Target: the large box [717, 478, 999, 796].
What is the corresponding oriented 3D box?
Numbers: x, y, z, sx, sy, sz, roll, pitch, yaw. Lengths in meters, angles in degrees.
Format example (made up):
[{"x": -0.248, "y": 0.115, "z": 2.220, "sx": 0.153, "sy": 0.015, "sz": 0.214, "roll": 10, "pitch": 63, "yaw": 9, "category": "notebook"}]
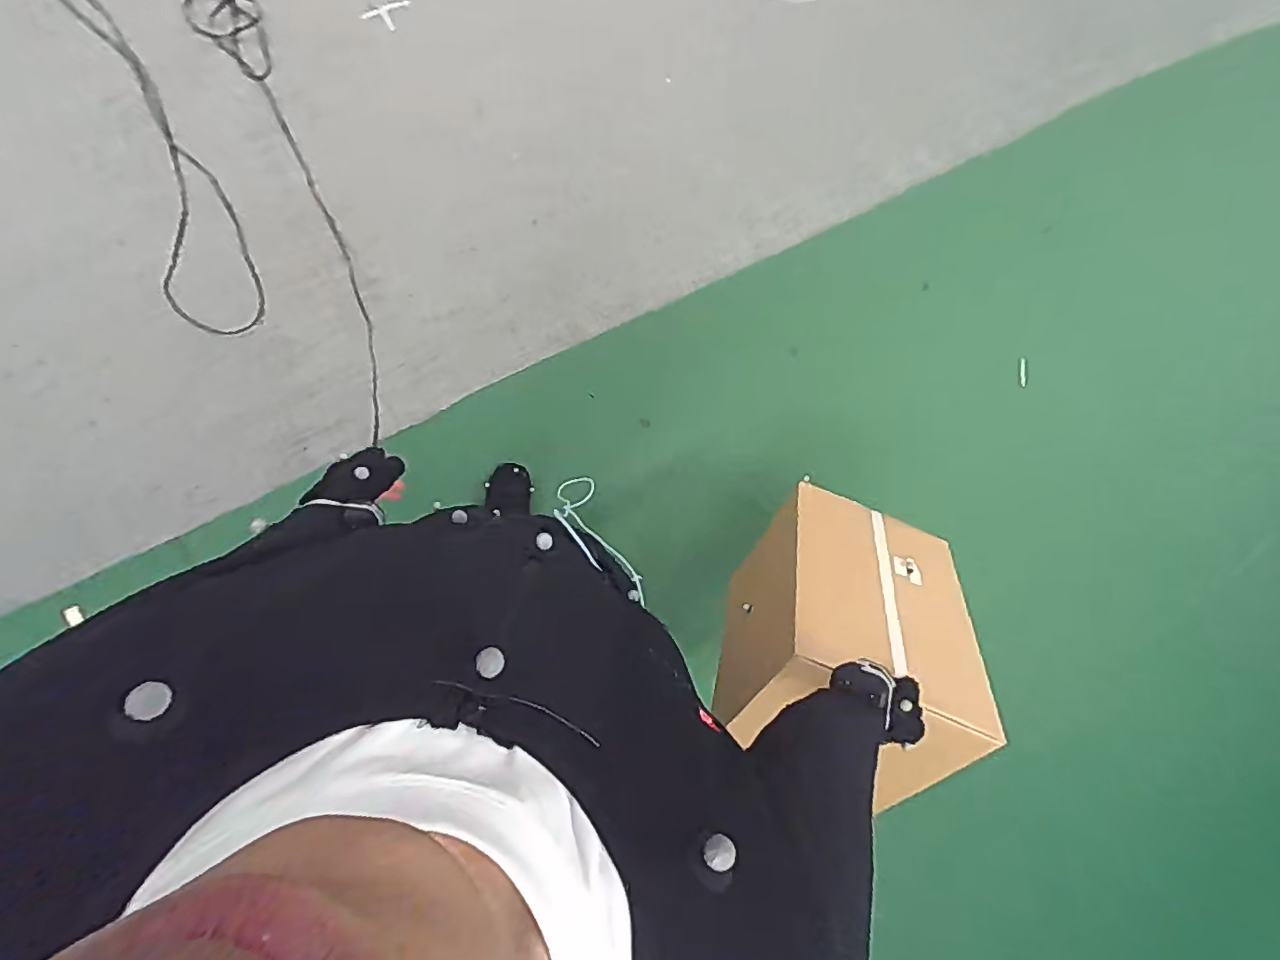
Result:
[{"x": 0.355, "y": 0.274, "z": 0.987, "sx": 0.320, "sy": 0.408, "sz": 0.320, "roll": 23, "pitch": 129, "yaw": -1, "category": "large box"}]
